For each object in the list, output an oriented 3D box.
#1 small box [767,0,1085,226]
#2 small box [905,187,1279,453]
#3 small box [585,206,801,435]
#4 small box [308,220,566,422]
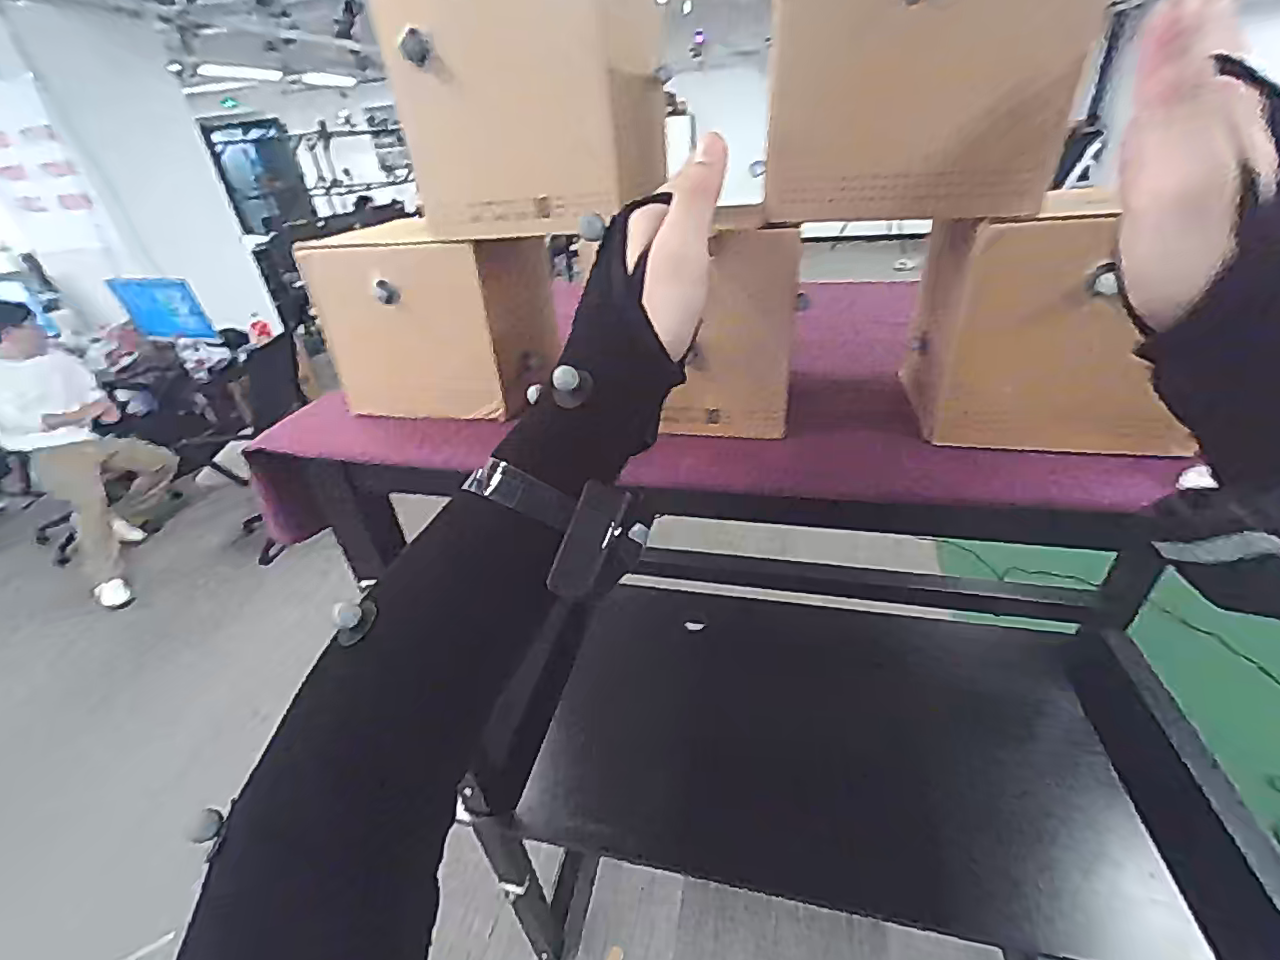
[{"bbox_3d":[0.186,-0.285,0.394,0.179,0.176,0.168,4,32,11],"label":"small box"},{"bbox_3d":[0.335,-0.132,0.441,0.179,0.176,0.168,3,31,15],"label":"small box"},{"bbox_3d":[0.061,-0.152,0.509,0.168,0.176,0.179,4,32,13],"label":"small box"},{"bbox_3d":[-0.192,-0.170,0.570,0.179,0.176,0.168,4,33,13],"label":"small box"}]
